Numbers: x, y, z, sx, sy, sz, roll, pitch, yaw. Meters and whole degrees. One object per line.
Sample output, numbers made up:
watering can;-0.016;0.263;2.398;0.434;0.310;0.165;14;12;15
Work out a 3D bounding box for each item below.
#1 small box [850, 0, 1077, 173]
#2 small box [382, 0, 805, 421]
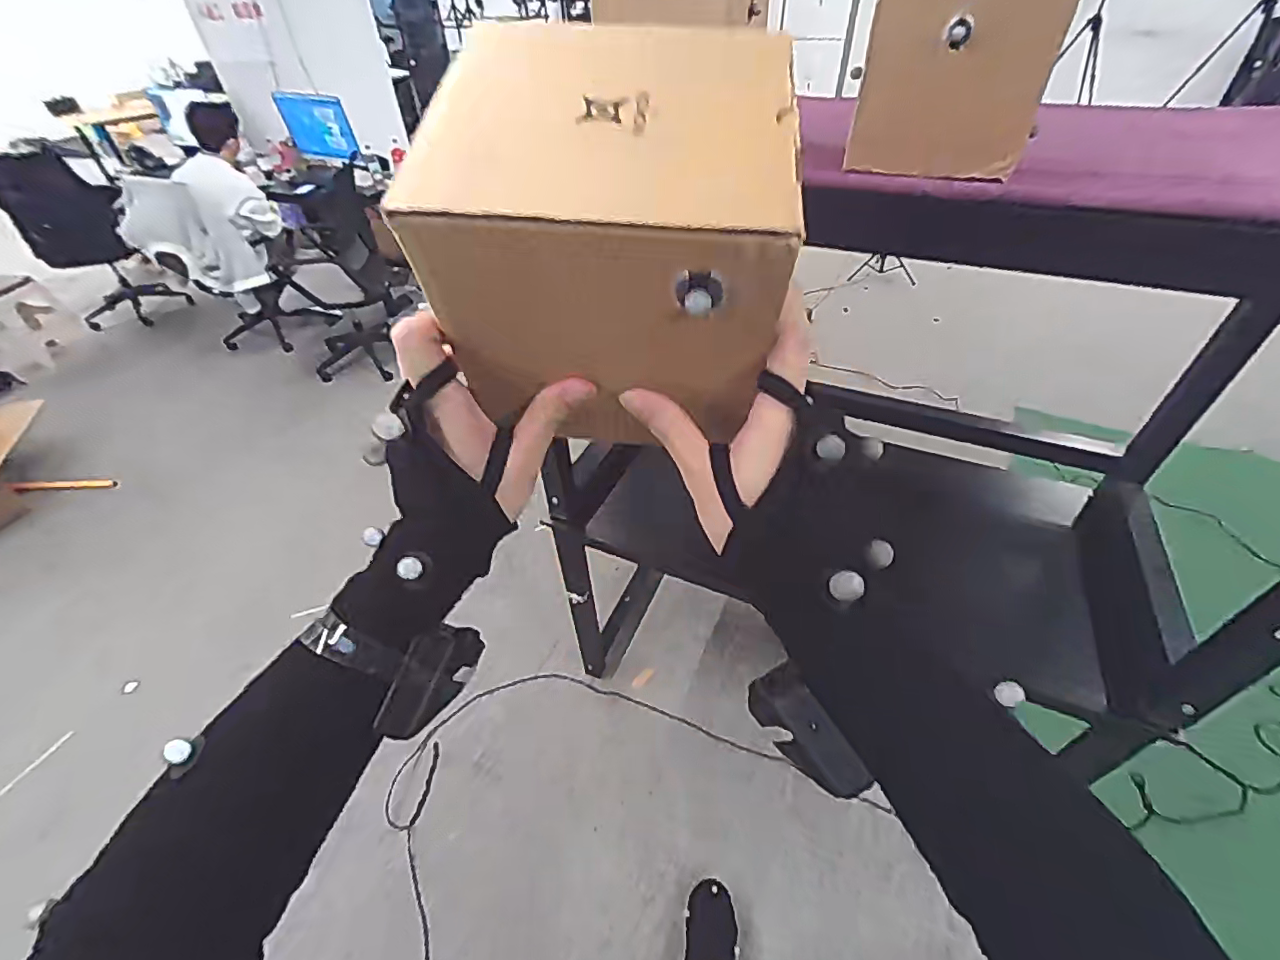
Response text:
small box;0.343;-0.447;0.590;0.179;0.176;0.168;16;45;20
small box;-0.011;-0.150;0.323;0.179;0.176;0.168;5;62;3
